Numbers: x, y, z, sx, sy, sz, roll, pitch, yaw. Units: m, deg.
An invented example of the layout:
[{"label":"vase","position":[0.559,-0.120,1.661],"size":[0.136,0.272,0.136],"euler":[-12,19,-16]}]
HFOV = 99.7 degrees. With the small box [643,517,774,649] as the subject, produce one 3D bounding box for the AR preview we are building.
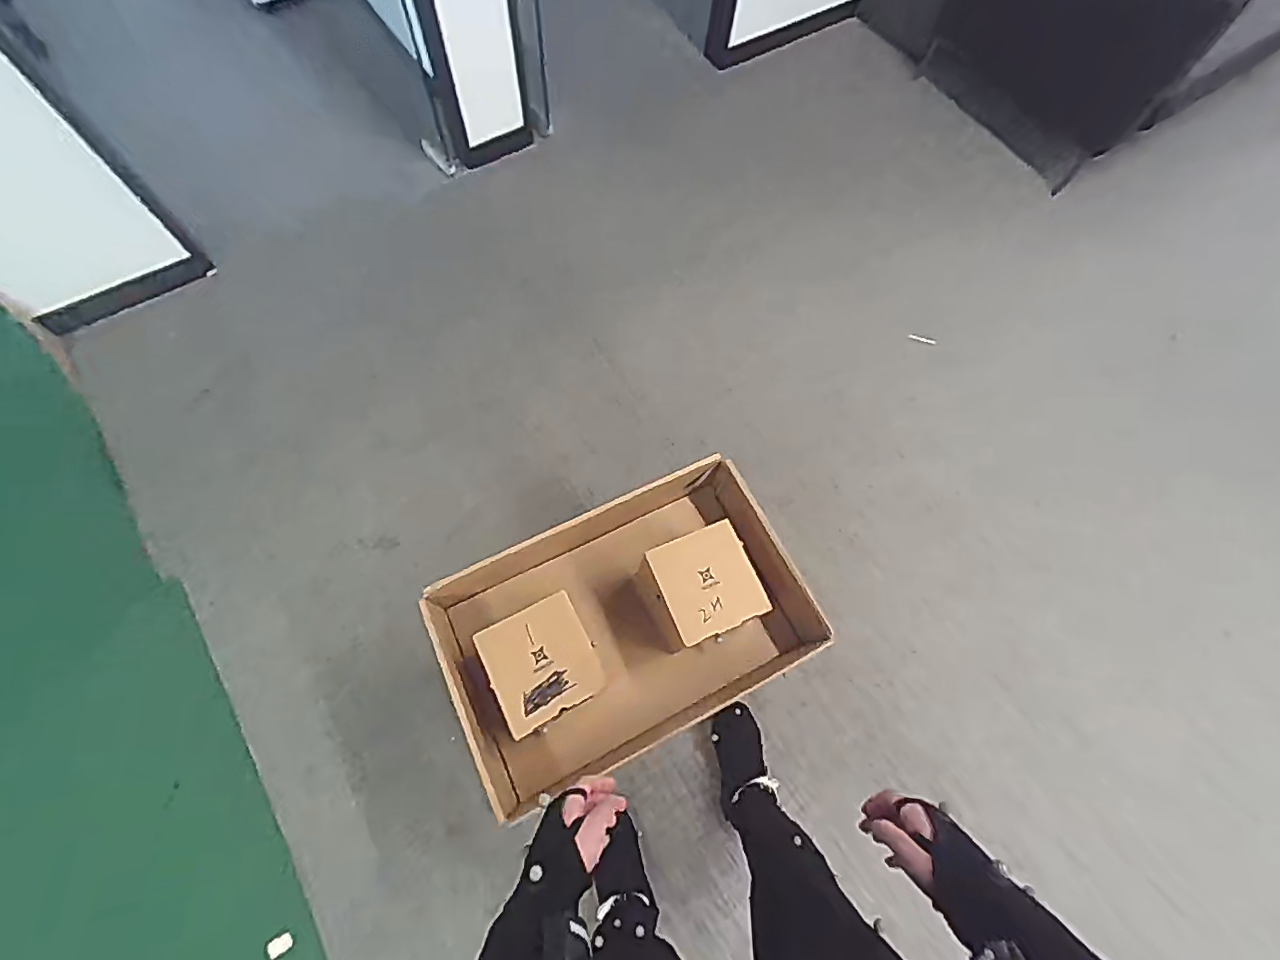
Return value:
[{"label":"small box","position":[0.112,0.193,0.986],"size":[0.168,0.176,0.179],"euler":[-20,72,-11]}]
